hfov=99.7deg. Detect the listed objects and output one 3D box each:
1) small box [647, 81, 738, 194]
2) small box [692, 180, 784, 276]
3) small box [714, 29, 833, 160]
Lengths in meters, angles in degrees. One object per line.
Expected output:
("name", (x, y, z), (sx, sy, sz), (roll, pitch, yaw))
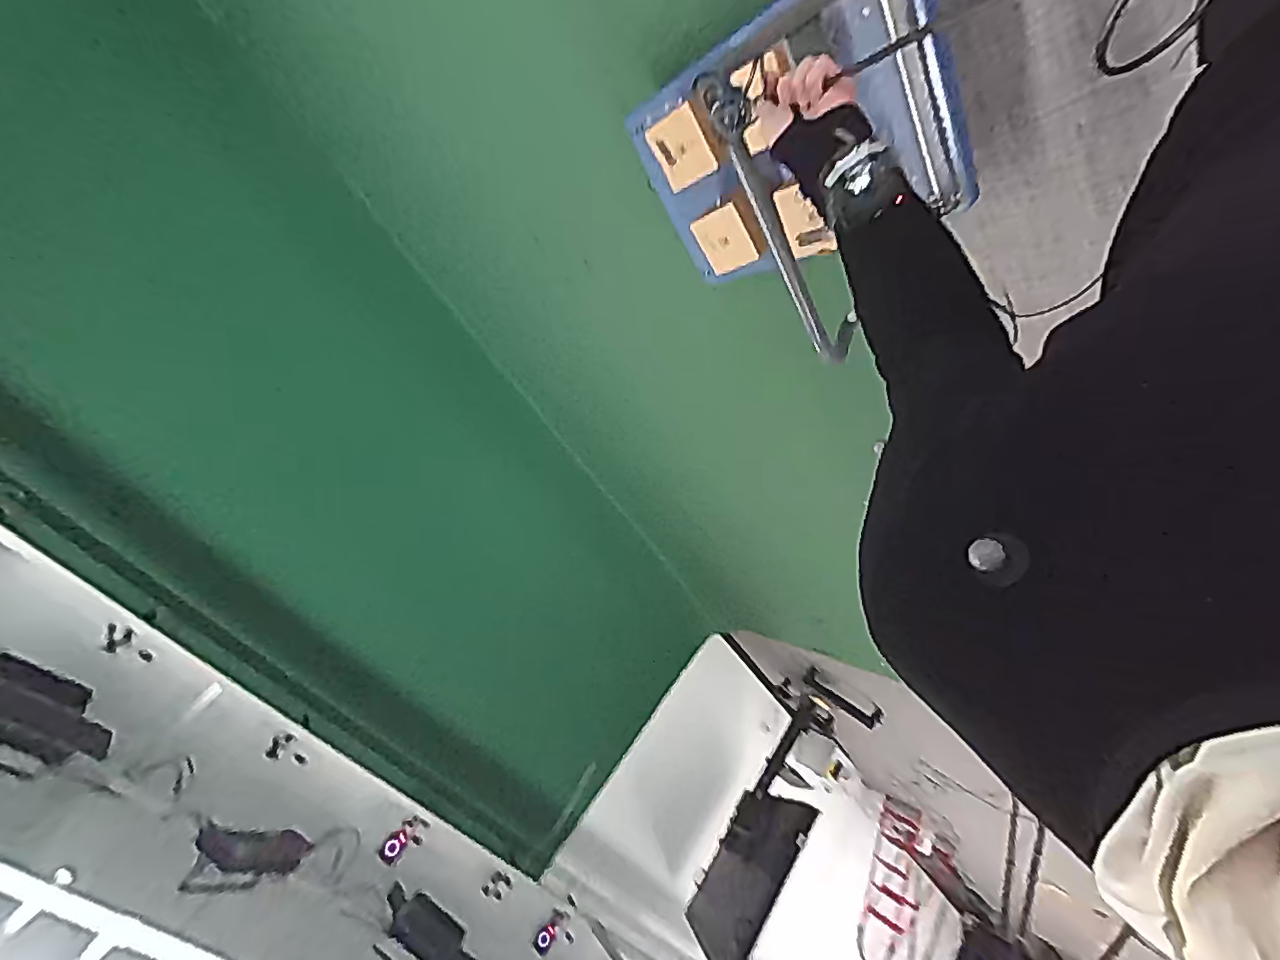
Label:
("small box", (0.158, -0.909, 1.441), (0.179, 0.176, 0.168), (5, 138, 53))
("small box", (0.291, -0.726, 1.560), (0.179, 0.176, 0.168), (4, 137, 55))
("small box", (0.311, -0.885, 1.249), (0.179, 0.176, 0.168), (9, 141, 50))
